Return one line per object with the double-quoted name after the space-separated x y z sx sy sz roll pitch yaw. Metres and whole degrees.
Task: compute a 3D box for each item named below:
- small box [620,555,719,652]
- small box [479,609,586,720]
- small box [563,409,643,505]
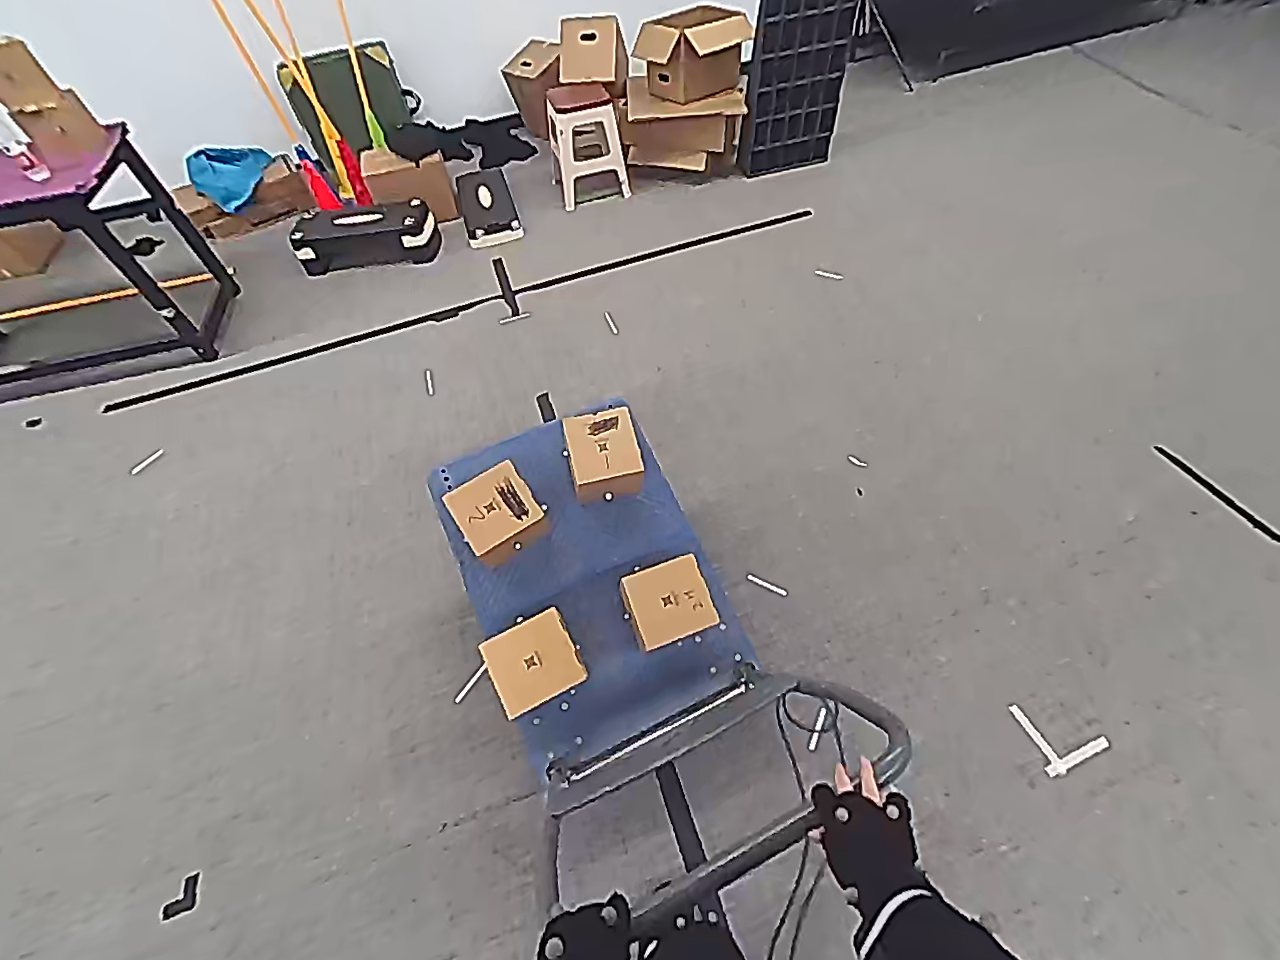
0.060 0.292 1.256 0.179 0.176 0.168 -18 73 -11 "small box"
-0.229 0.407 1.192 0.179 0.176 0.168 -25 74 -14 "small box"
-0.098 -0.055 1.367 0.168 0.176 0.179 -13 73 -9 "small box"
